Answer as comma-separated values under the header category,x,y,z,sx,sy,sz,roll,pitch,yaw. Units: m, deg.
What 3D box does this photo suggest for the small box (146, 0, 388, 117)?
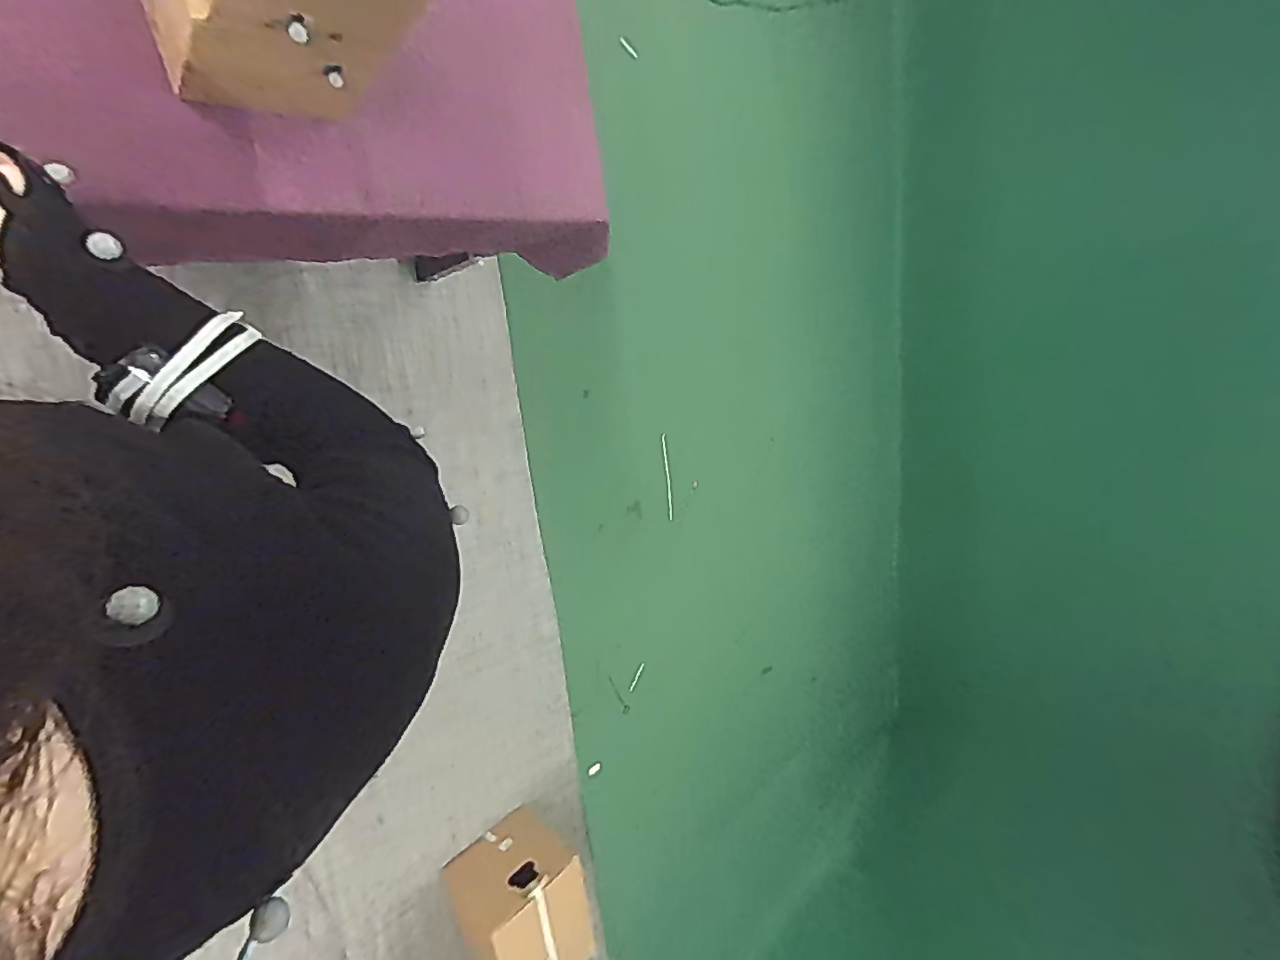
category,x,y,z,sx,sy,sz,roll,pitch,yaw
small box,-0.404,-0.515,0.574,0.179,0.176,0.168,-23,110,-40

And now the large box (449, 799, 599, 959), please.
category,x,y,z,sx,sy,sz,roll,pitch,yaw
large box,-0.374,1.363,1.757,0.320,0.320,0.408,-21,110,-42
